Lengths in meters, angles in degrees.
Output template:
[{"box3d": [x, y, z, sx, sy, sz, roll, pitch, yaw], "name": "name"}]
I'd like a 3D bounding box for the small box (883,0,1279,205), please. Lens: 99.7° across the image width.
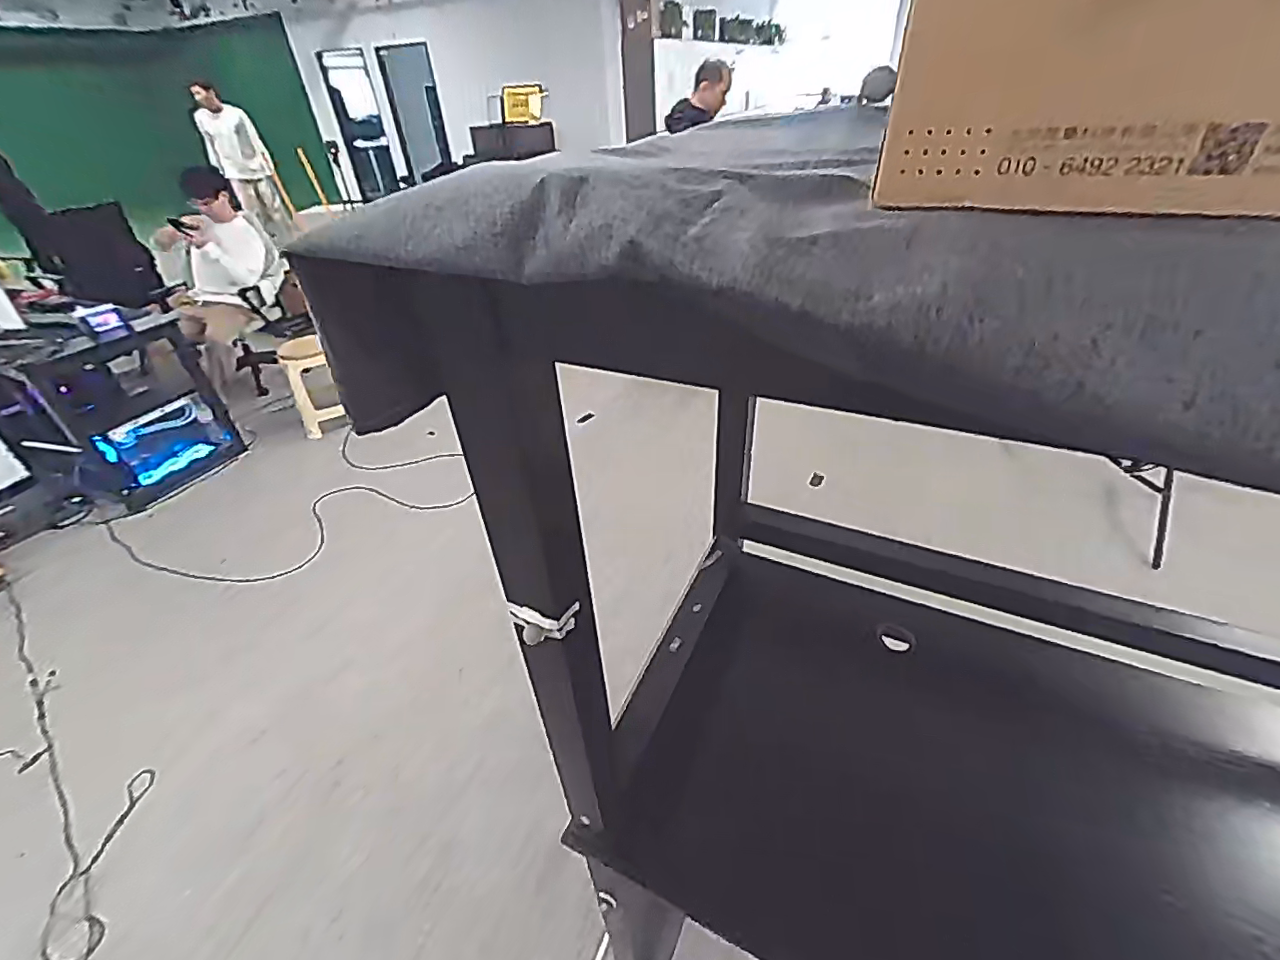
[{"box3d": [0.199, -0.210, 0.204, 0.168, 0.176, 0.179, 13, 38, 18], "name": "small box"}]
